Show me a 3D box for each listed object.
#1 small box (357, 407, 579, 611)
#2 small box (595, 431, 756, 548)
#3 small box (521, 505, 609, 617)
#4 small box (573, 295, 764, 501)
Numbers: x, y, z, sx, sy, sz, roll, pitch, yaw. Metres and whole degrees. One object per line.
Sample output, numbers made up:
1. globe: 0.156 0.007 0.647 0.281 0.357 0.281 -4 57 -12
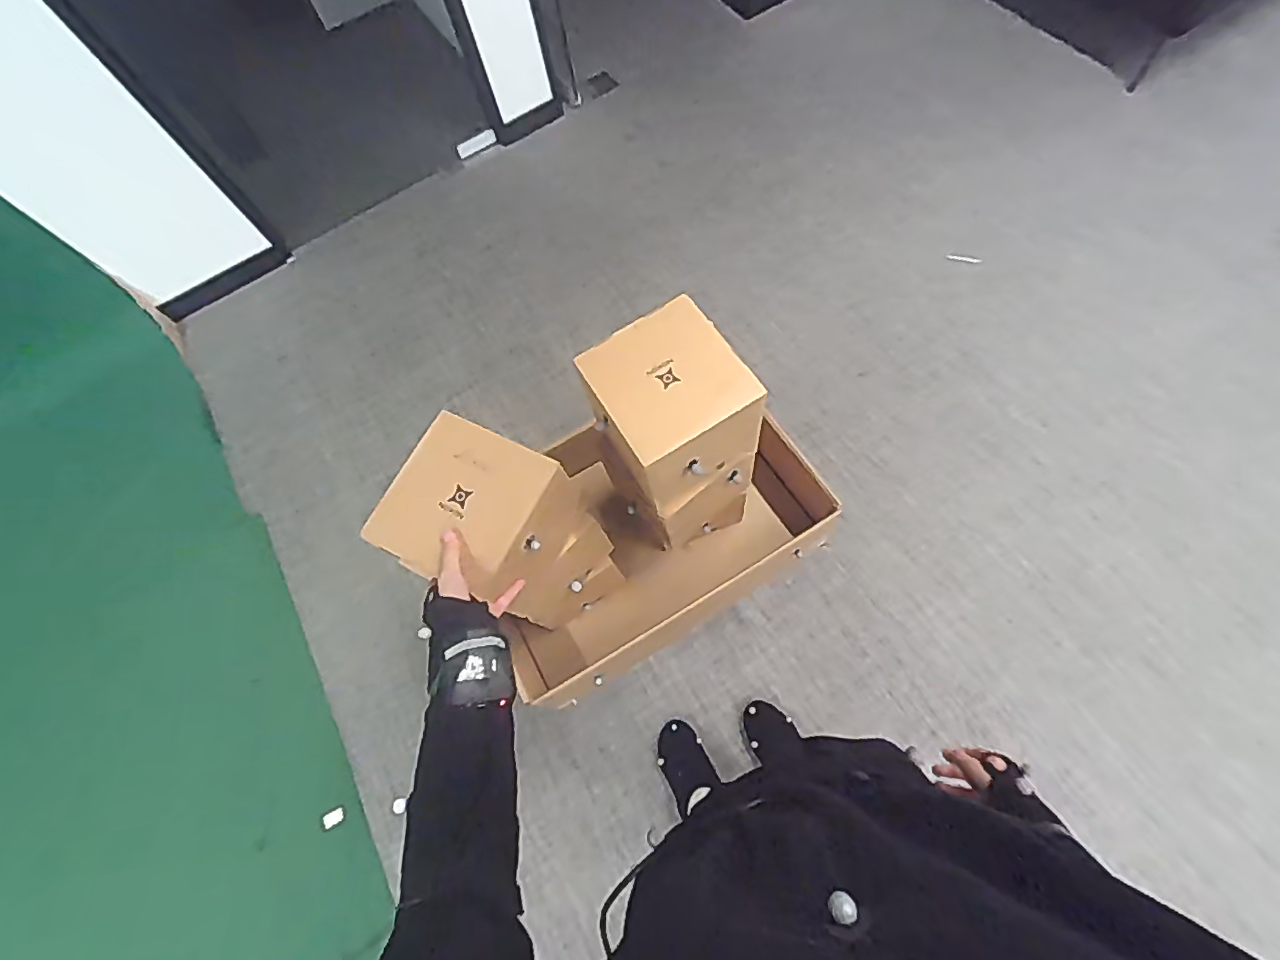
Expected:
1. small box: -0.194 0.046 0.669 0.168 0.176 0.179 25 75 14
2. small box: 0.057 -0.022 0.845 0.179 0.176 0.168 -39 68 -8
3. small box: -0.171 0.089 0.826 0.179 0.176 0.168 39 78 18
4. small box: 0.040 -0.092 0.699 0.168 0.176 0.179 -31 67 -5
